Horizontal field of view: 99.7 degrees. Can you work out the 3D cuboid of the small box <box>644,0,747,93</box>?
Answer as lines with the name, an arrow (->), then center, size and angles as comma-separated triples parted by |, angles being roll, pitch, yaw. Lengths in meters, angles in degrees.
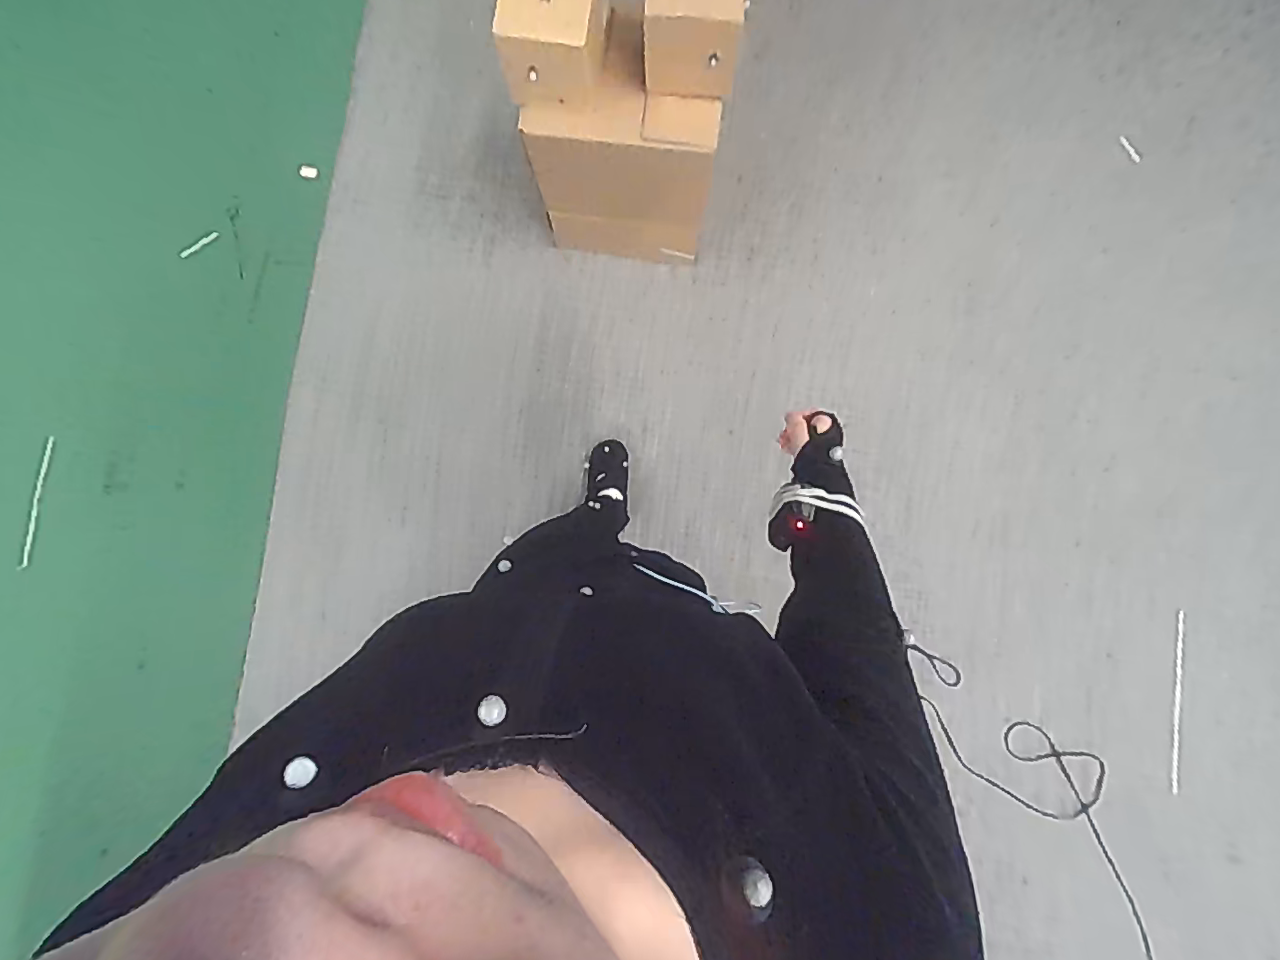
small box -> 0.104, -0.873, 1.019 | 0.179, 0.176, 0.168 | 7, 85, 2

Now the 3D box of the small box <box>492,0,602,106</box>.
small box -> -0.164, -0.850, 1.017 | 0.168, 0.176, 0.179 | 9, 87, -1
